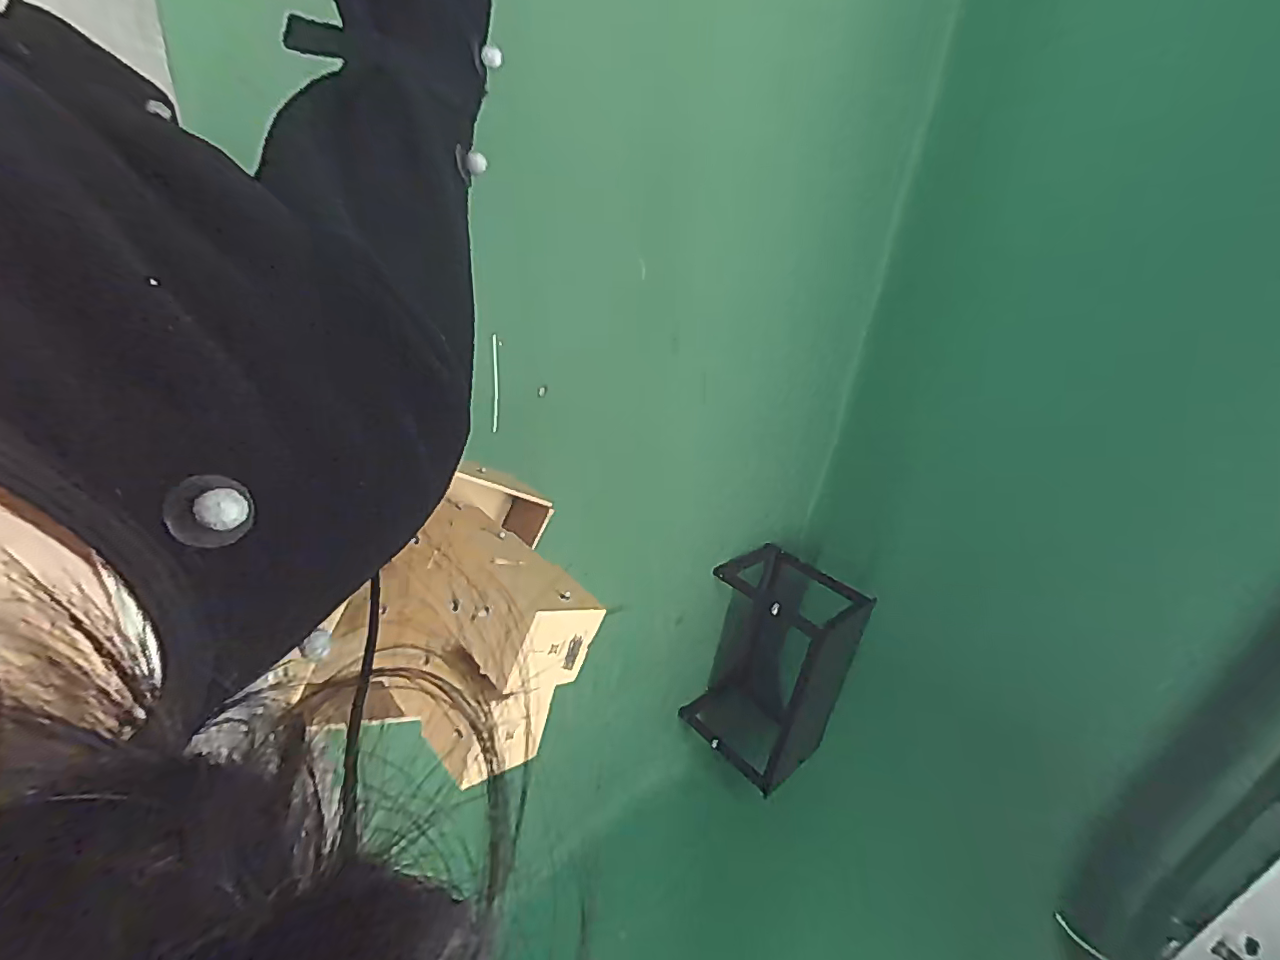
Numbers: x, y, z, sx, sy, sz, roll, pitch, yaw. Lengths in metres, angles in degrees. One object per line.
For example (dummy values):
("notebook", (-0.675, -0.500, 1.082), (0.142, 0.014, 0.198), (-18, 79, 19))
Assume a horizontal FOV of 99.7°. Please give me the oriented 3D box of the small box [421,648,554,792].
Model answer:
("small box", (-0.296, 0.441, 1.034), (0.168, 0.176, 0.179), (4, 107, -49))
